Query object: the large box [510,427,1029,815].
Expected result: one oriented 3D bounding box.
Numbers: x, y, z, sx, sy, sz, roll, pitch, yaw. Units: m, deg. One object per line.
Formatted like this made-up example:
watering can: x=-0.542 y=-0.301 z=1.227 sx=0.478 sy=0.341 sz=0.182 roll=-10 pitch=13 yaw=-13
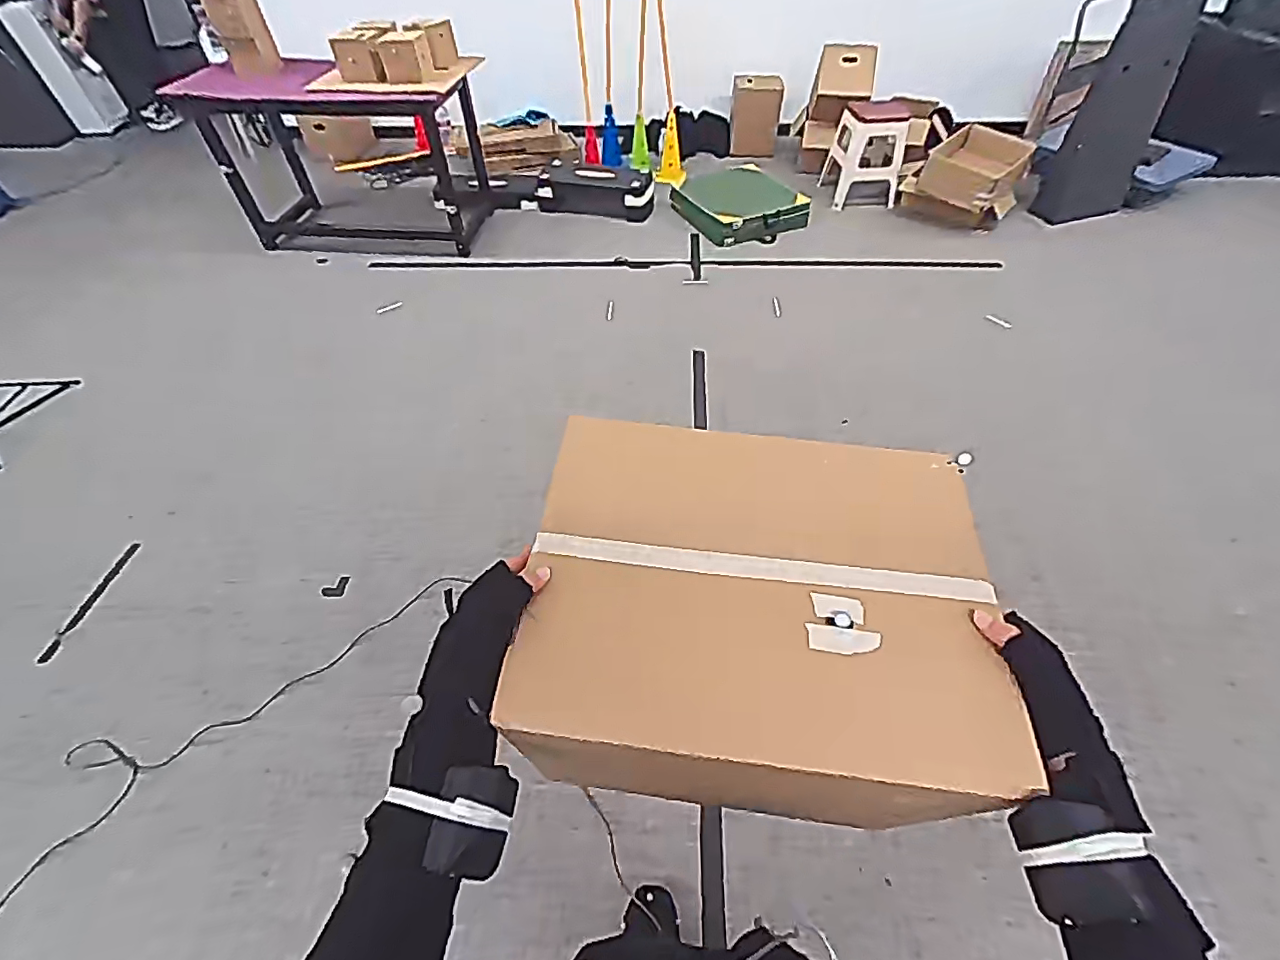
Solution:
large box: x=0.106 y=0.169 z=0.615 sx=0.408 sy=0.320 sz=0.320 roll=6 pitch=55 yaw=3
